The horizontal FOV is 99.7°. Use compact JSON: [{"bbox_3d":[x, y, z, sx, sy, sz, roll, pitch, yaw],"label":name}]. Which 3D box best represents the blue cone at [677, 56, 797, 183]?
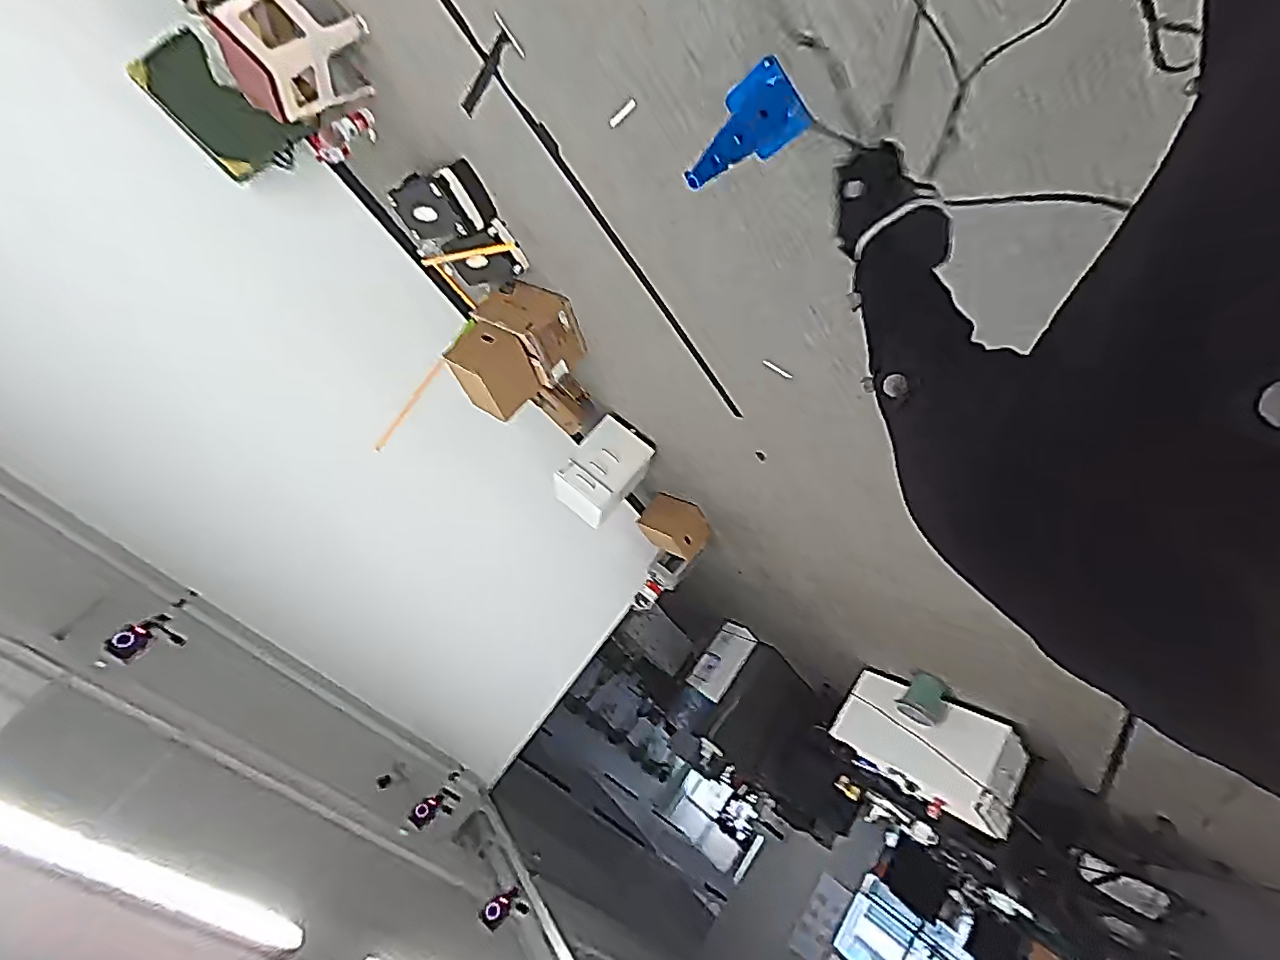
[{"bbox_3d":[0.226,-0.891,1.418,0.192,0.380,0.193,47,160,-20],"label":"blue cone"}]
